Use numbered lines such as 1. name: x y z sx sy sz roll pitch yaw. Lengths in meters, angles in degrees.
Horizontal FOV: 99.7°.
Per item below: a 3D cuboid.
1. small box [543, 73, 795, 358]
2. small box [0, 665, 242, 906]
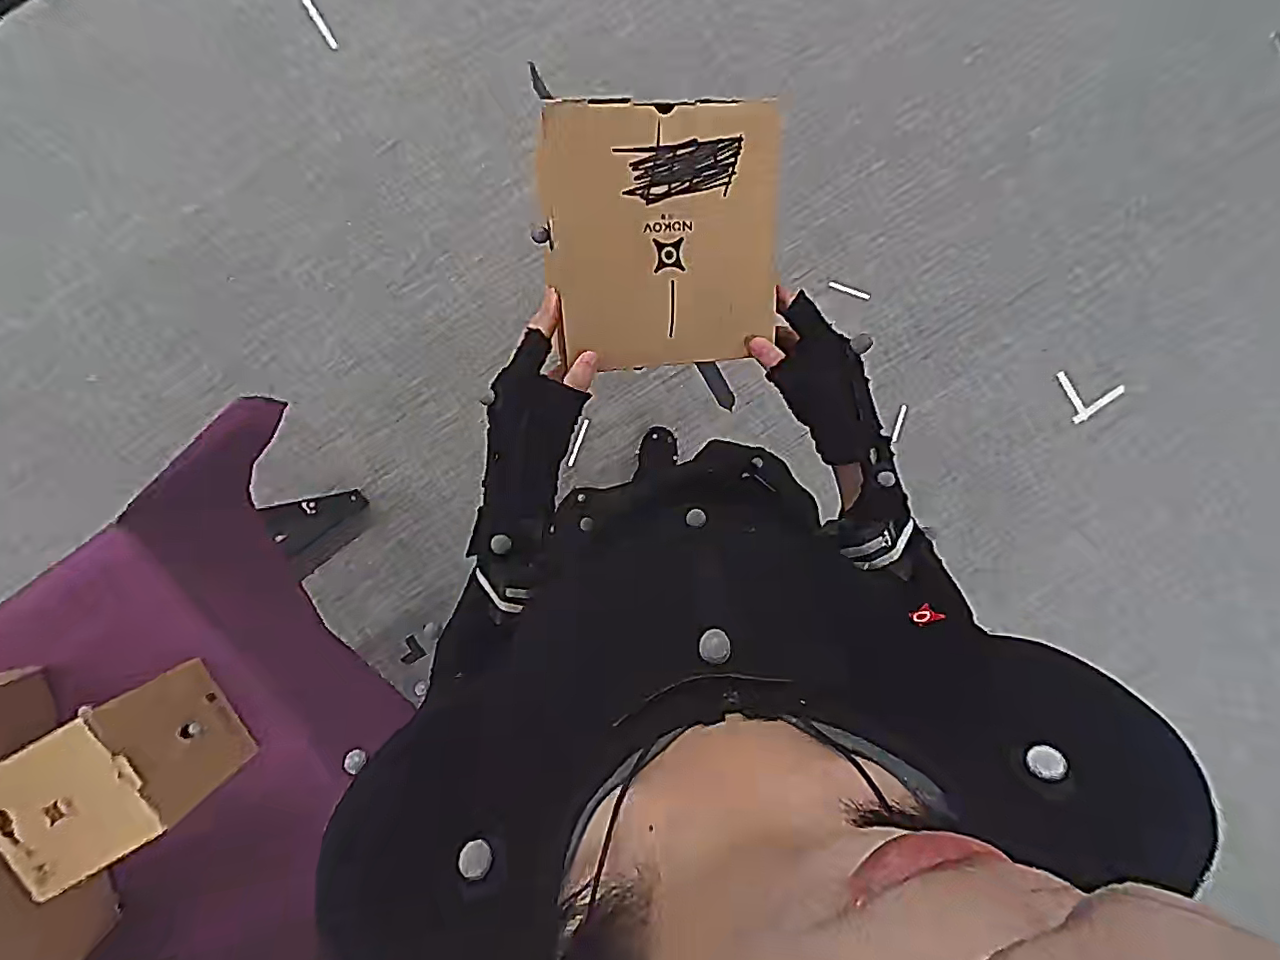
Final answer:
1. small box: 0.012 -0.202 0.448 0.168 0.176 0.179 -7 110 -10
2. small box: -0.661 0.371 0.691 0.179 0.176 0.168 -30 95 0
